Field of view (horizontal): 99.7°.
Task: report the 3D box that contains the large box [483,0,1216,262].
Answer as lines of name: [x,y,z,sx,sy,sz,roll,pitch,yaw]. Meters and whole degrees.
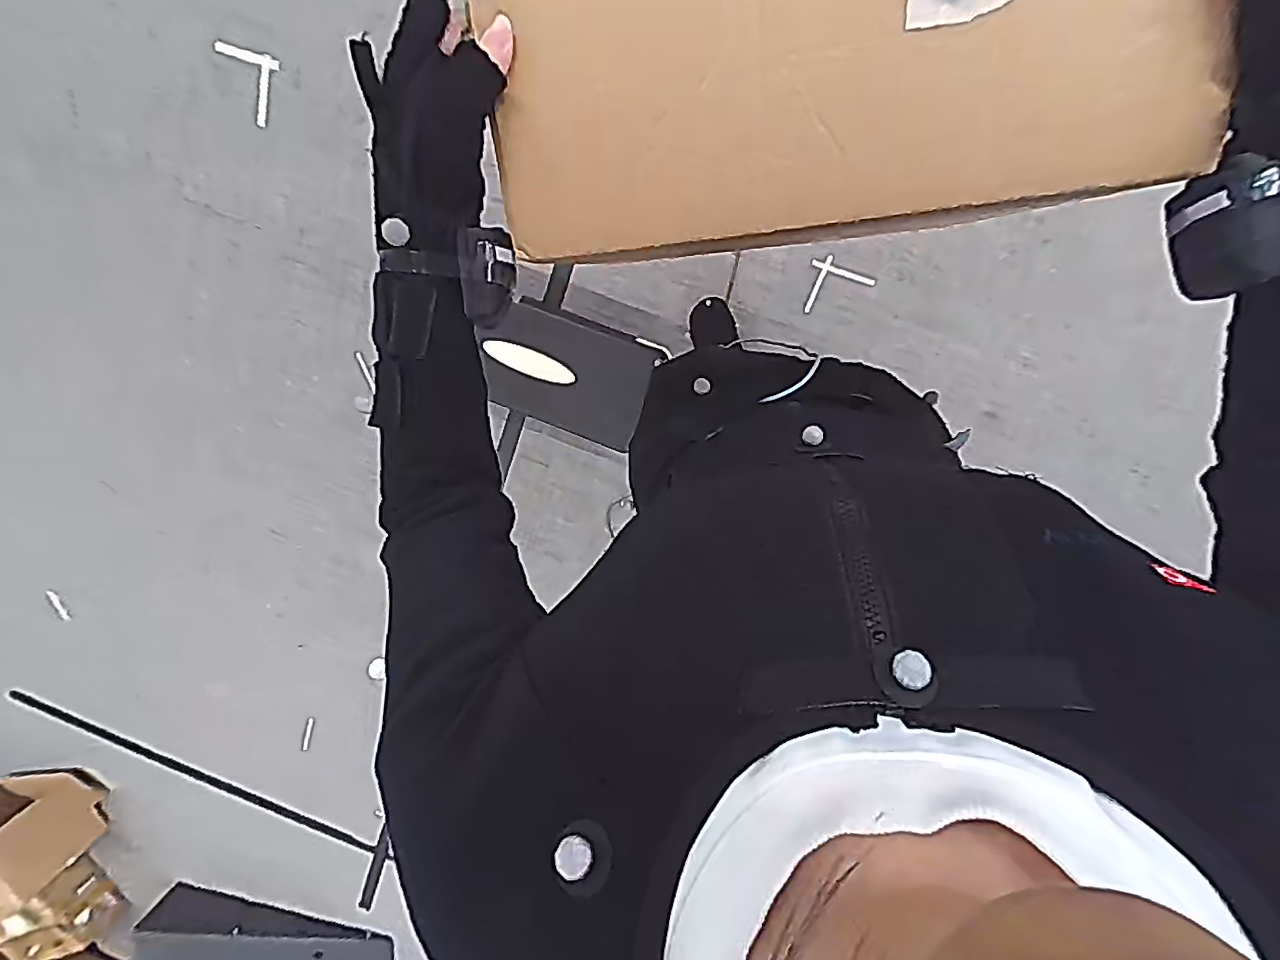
large box: [0.116,-0.366,0.428,0.408,0.320,0.320,-4,111,10]
